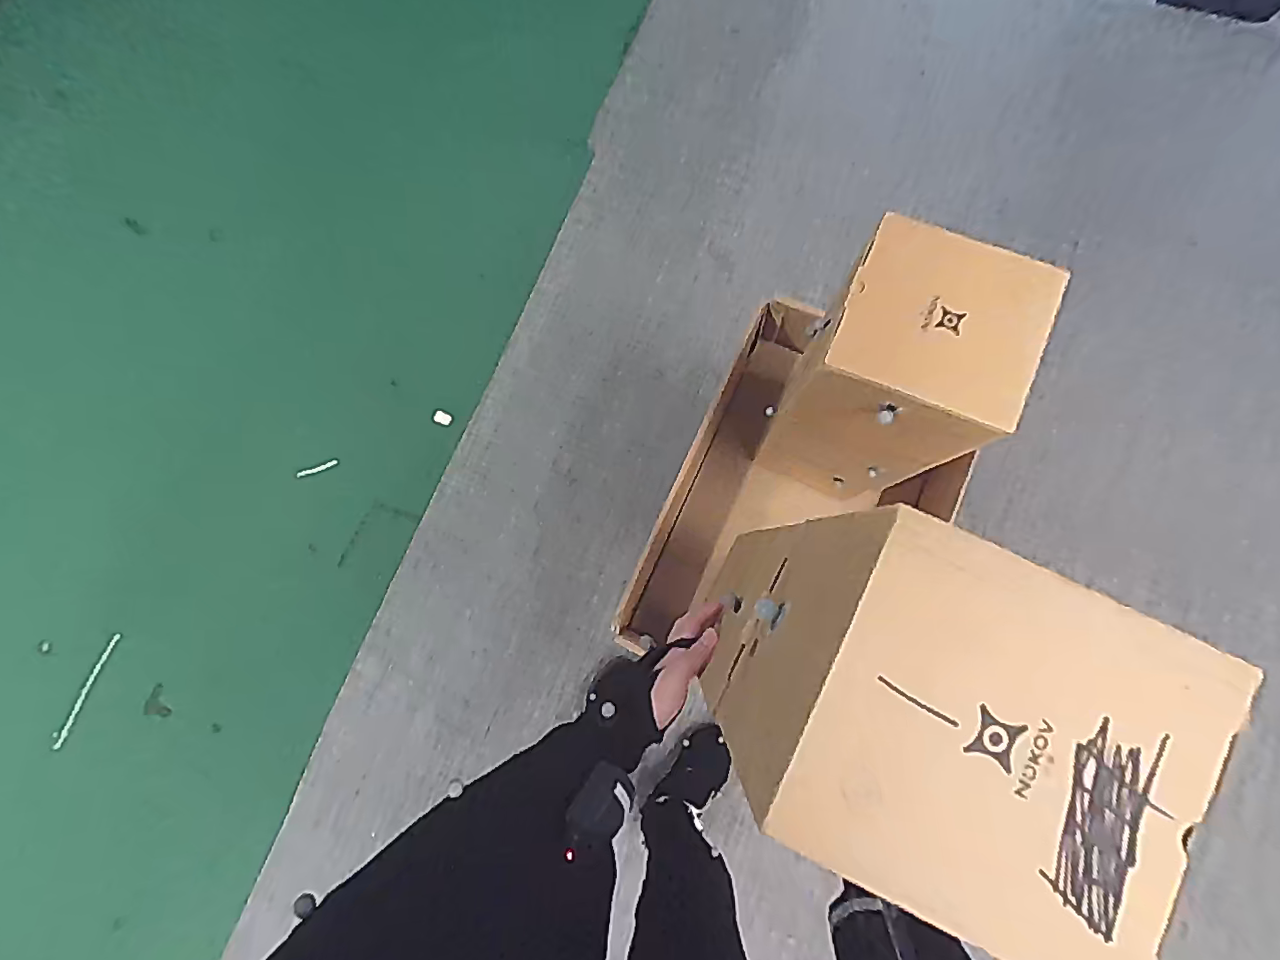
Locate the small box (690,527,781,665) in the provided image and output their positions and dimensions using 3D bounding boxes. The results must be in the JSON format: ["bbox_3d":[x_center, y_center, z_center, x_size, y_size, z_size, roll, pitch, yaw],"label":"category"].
[{"bbox_3d":[0.173,0.174,0.648,0.179,0.176,0.168,30,84,4],"label":"small box"}]

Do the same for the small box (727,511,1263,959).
[{"bbox_3d":[0.171,0.131,0.322,0.179,0.176,0.168,26,84,5],"label":"small box"}]

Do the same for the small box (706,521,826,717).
[{"bbox_3d":[0.172,0.153,0.486,0.179,0.176,0.168,27,85,5],"label":"small box"}]

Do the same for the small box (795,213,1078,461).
[{"bbox_3d":[0.284,-0.130,0.559,0.179,0.176,0.168,23,83,8],"label":"small box"}]
